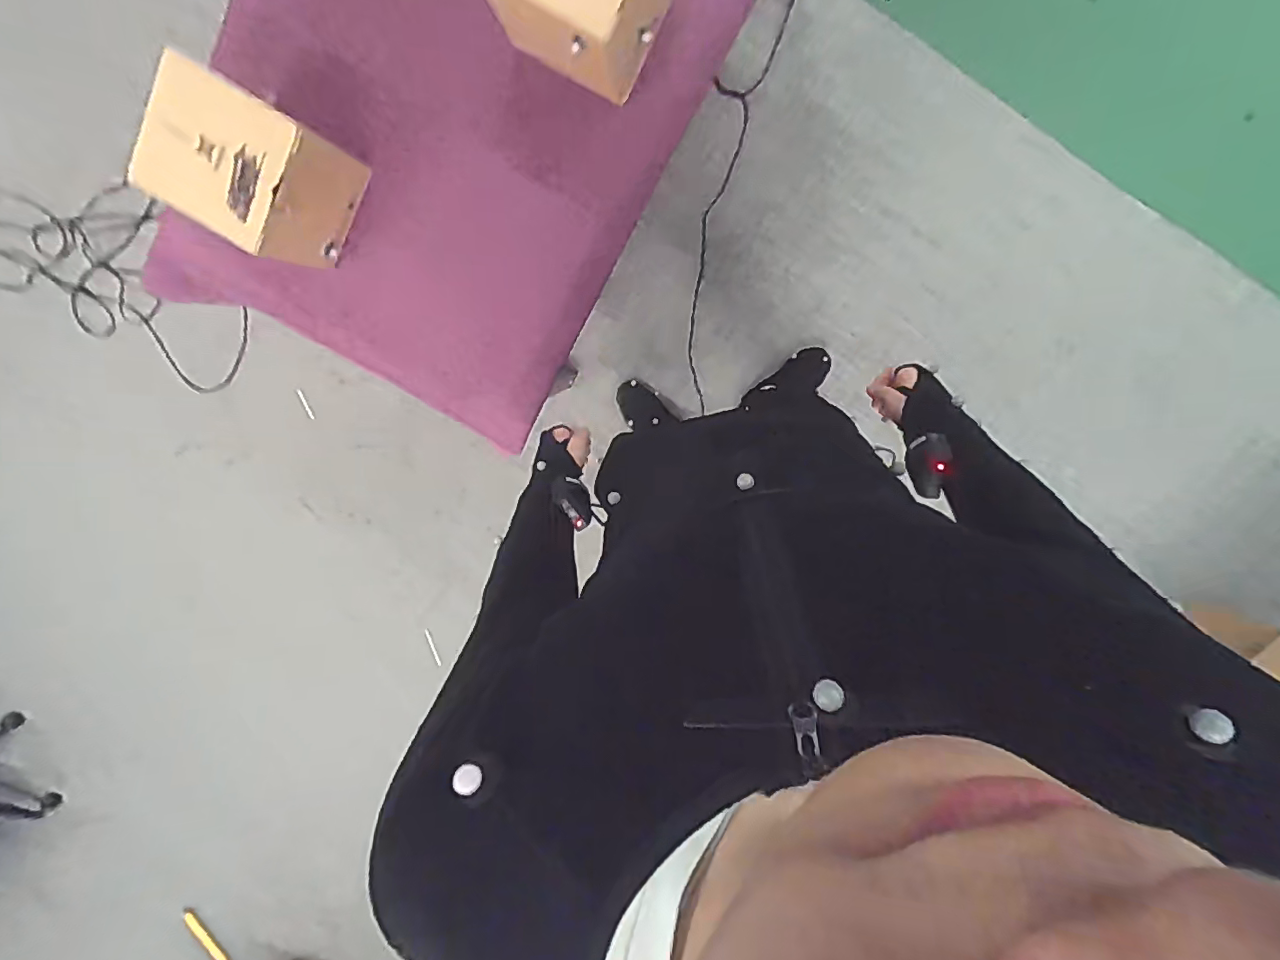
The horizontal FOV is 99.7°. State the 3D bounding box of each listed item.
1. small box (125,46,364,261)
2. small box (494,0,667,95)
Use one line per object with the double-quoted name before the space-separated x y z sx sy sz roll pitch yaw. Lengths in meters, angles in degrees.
"small box" -0.516 -0.418 0.732 0.179 0.176 0.168 31 103 -5
"small box" -0.074 -0.620 0.659 0.179 0.176 0.168 28 104 -4
